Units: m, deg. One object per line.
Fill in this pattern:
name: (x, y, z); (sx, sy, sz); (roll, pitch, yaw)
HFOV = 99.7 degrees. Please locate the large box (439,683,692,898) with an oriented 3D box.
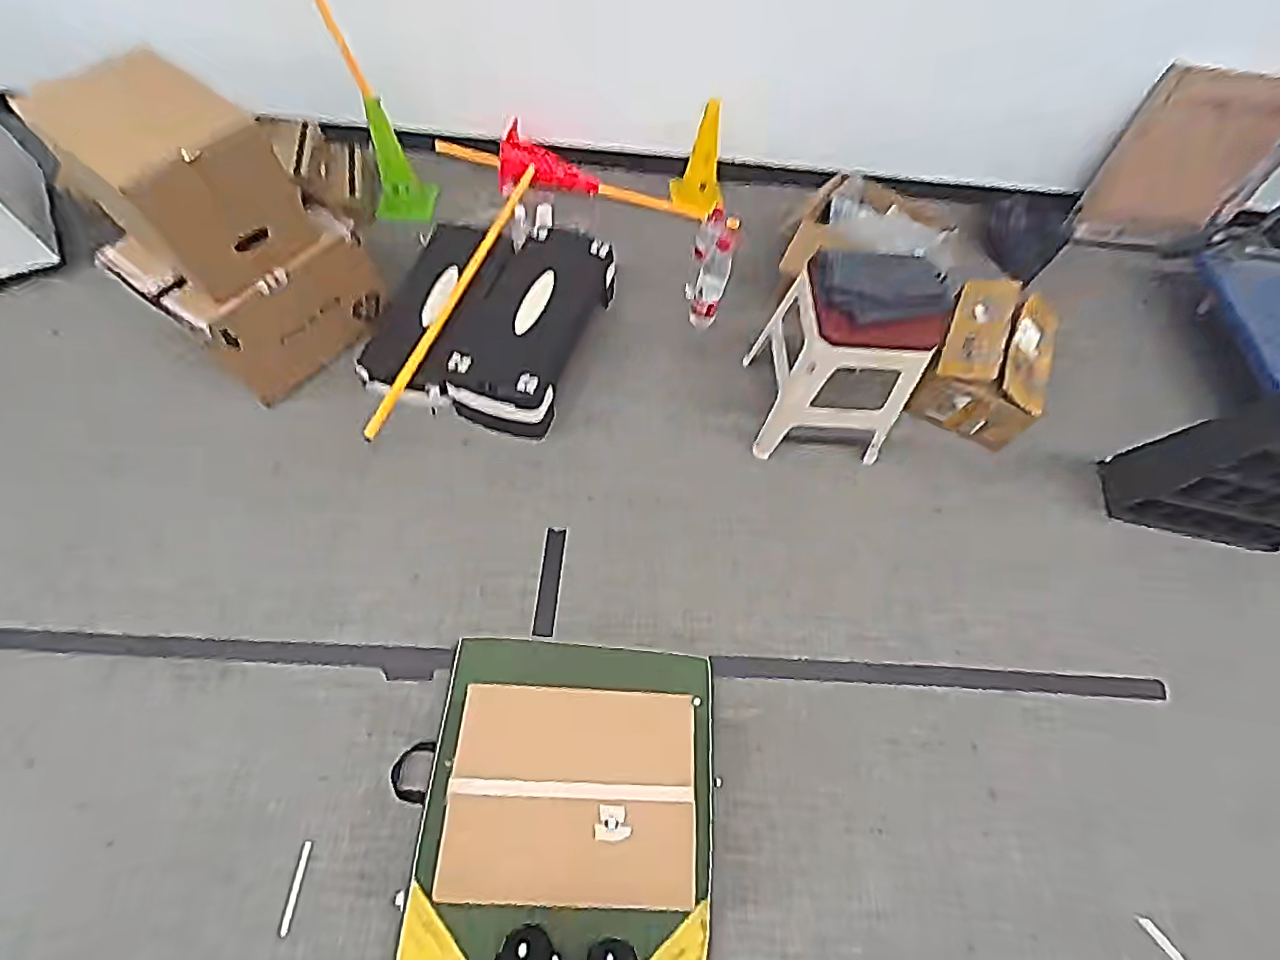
large box: (-0.127, 0.585, 1.044); (0.408, 0.320, 0.320); (5, 62, -4)
